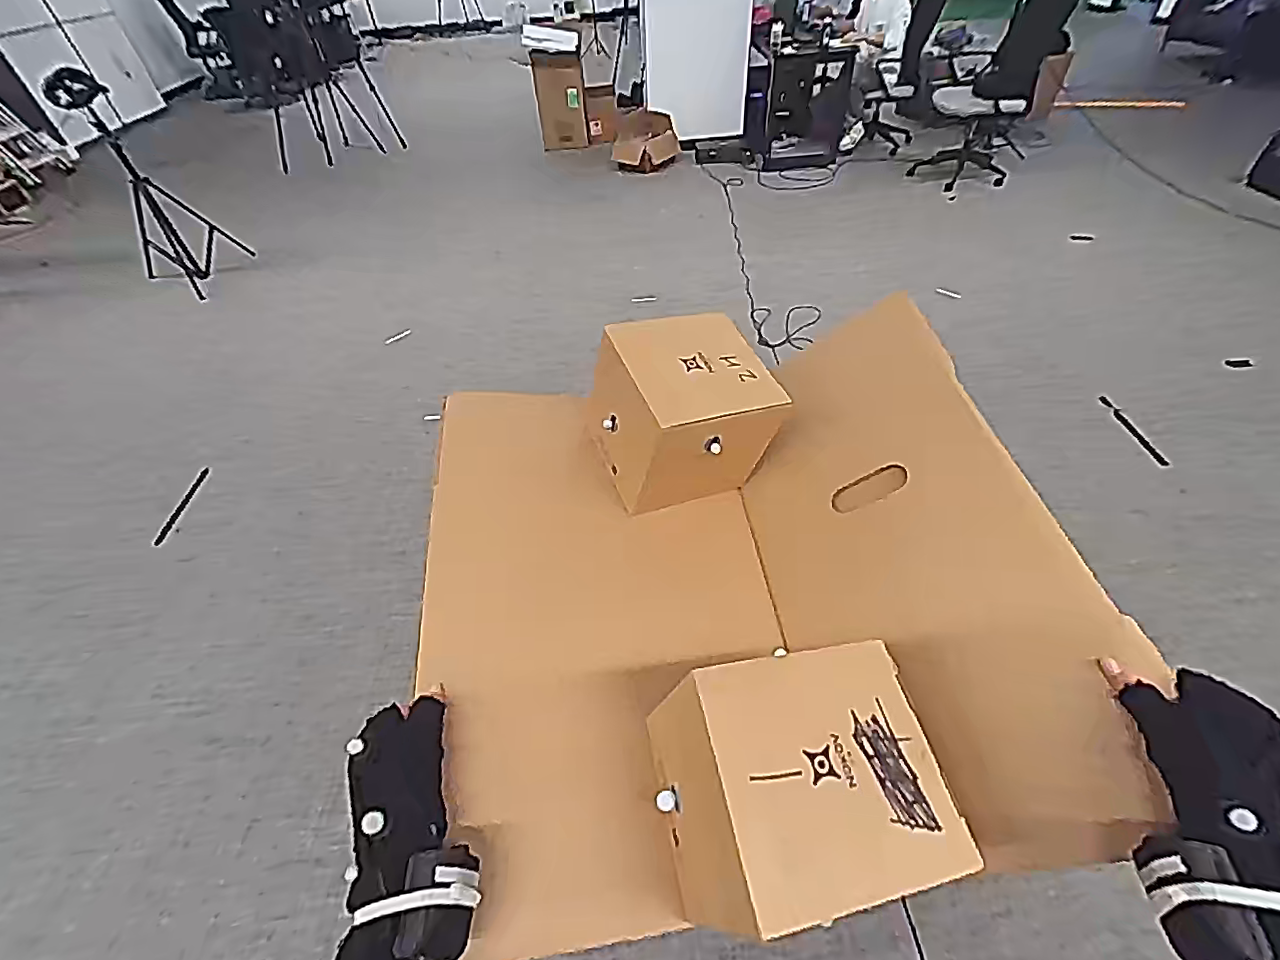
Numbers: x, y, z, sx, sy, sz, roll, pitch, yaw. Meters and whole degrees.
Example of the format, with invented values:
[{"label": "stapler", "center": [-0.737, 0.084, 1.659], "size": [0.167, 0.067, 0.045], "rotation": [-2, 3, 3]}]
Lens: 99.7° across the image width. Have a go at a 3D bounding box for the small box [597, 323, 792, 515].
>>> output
[{"label": "small box", "center": [0.053, -0.075, 0.689], "size": [0.179, 0.176, 0.168], "rotation": [-12, 58, -23]}]
